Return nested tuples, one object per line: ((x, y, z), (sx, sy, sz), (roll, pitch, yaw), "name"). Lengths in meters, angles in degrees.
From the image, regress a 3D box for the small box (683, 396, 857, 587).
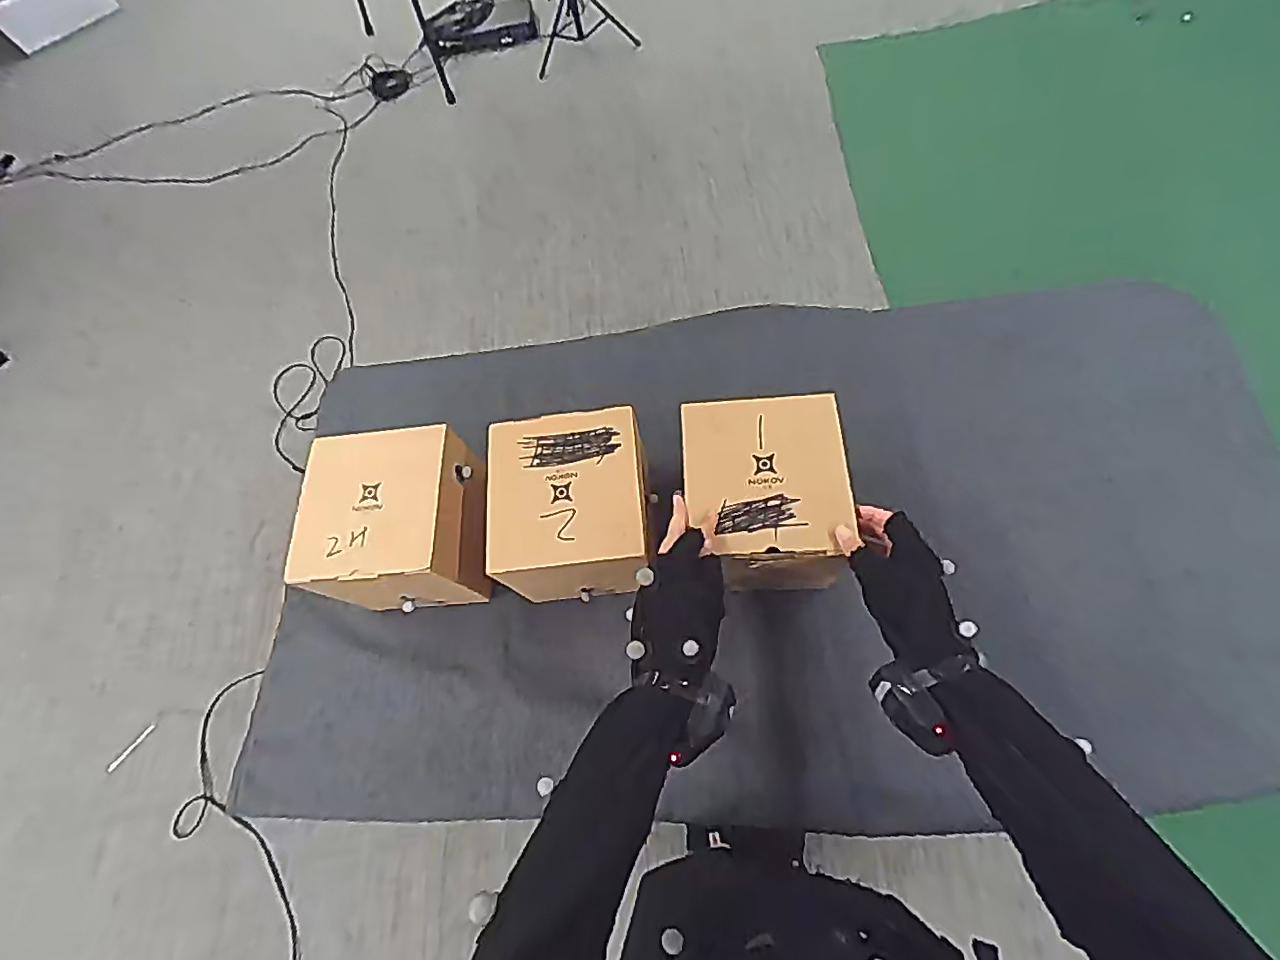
((0.139, 0.025, 0.626), (0.168, 0.176, 0.179), (-3, 66, 7), "small box")

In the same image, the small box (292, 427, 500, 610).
((-0.283, 0.055, 0.673), (0.168, 0.176, 0.179), (-5, 66, 6), "small box")
